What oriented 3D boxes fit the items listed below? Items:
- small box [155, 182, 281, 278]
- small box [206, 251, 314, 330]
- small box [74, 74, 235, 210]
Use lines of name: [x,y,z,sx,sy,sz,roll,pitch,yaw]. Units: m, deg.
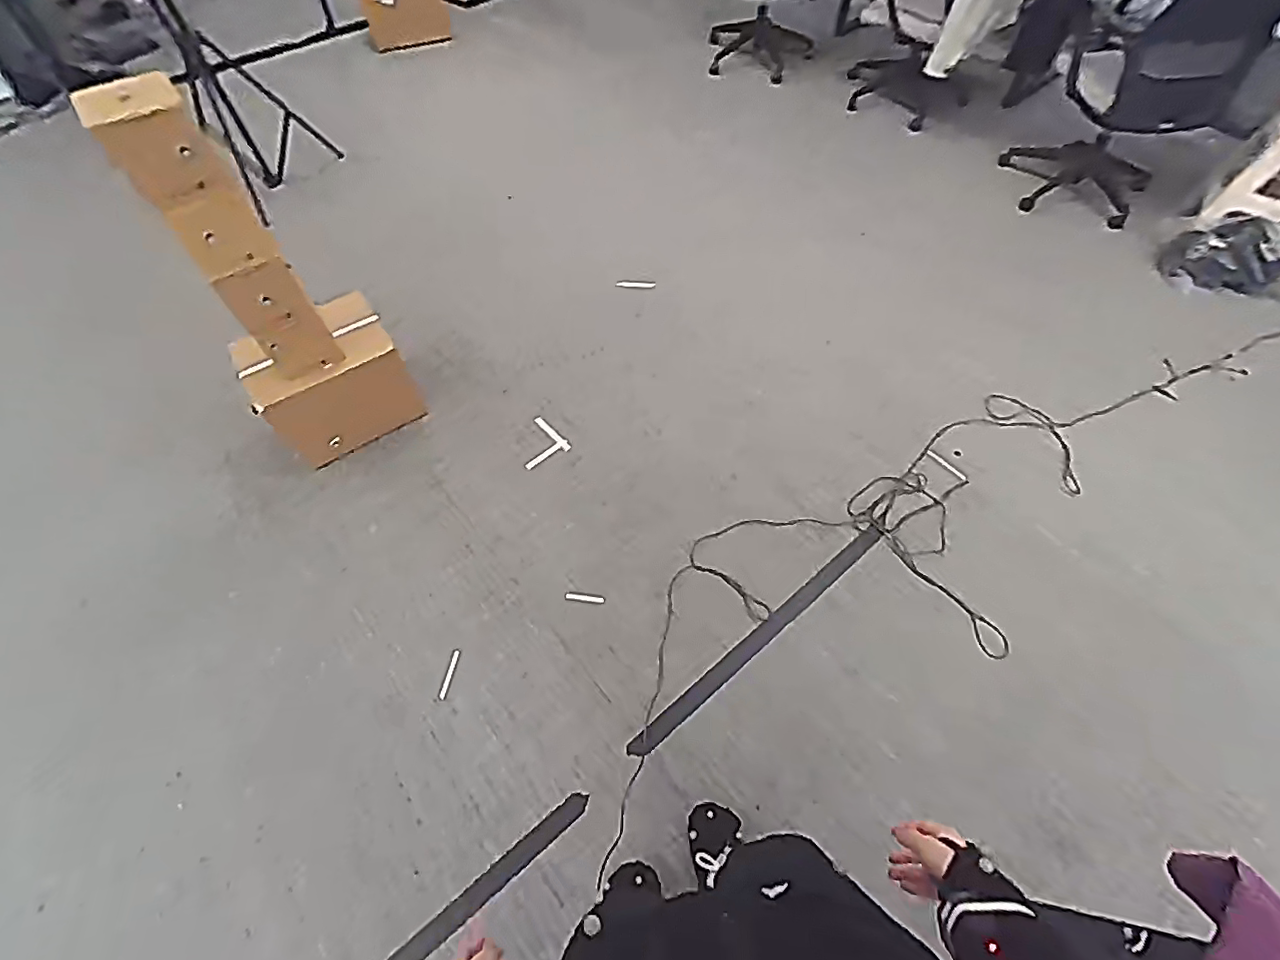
small box: [-0.964,-0.589,1.231,0.168,0.176,0.179,-33,64,-18]
small box: [-0.968,-0.505,1.370,0.168,0.176,0.179,-31,64,-17]
small box: [-0.969,-0.676,1.094,0.168,0.176,0.179,-33,62,-19]
